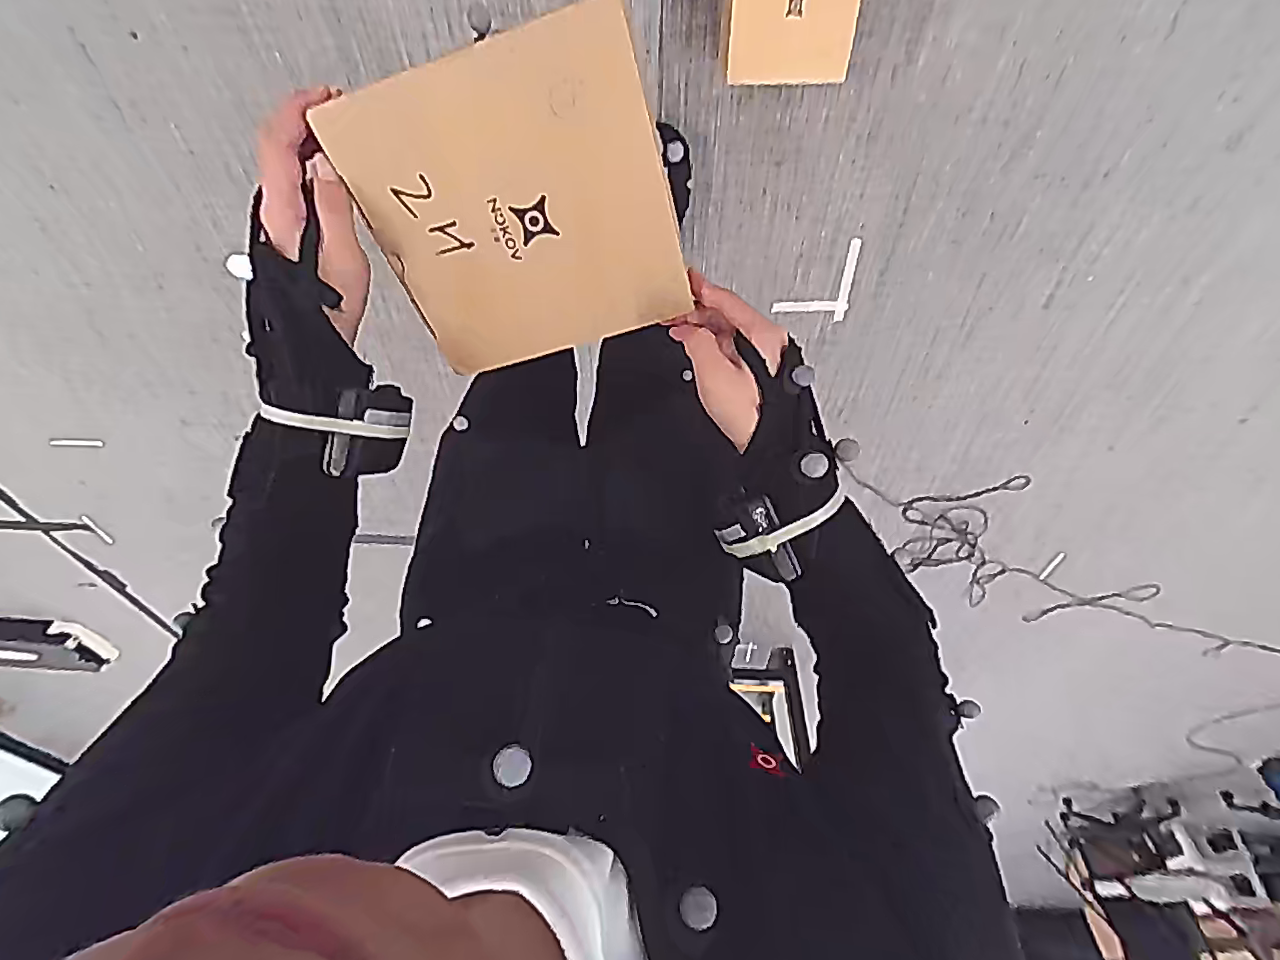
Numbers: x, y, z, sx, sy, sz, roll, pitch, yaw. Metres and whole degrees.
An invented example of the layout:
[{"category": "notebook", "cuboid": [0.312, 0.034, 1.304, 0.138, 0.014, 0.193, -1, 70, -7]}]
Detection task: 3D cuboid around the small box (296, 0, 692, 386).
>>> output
[{"category": "small box", "cuboid": [-0.073, -0.195, 0.368, 0.179, 0.176, 0.168, -13, 130, 10]}]
